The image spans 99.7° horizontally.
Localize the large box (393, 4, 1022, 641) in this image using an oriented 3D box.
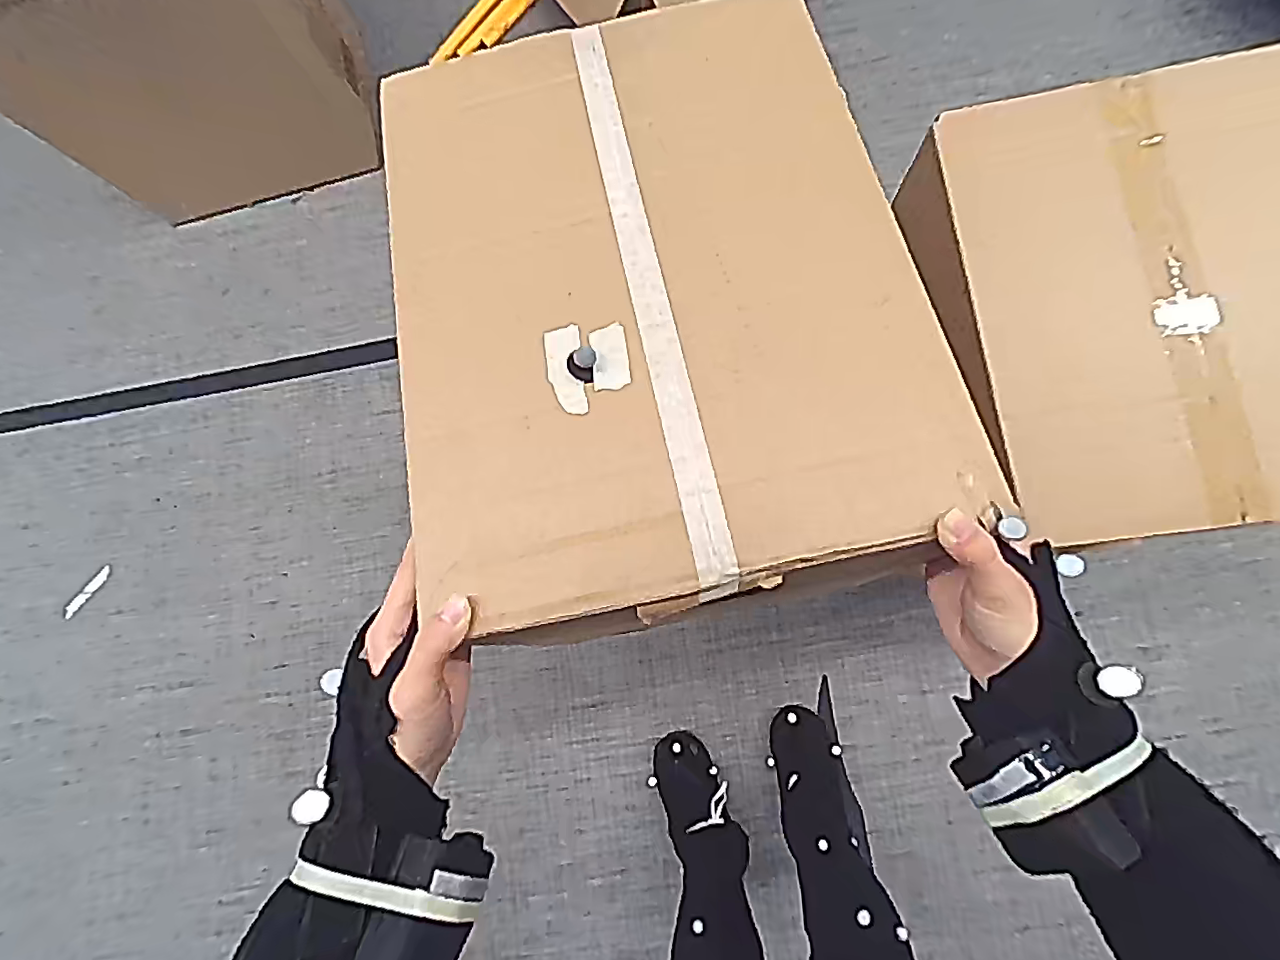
[{"bbox_3d":[0.019,-0.093,0.482,0.320,0.320,0.408,-13,73,1],"label":"large box"}]
